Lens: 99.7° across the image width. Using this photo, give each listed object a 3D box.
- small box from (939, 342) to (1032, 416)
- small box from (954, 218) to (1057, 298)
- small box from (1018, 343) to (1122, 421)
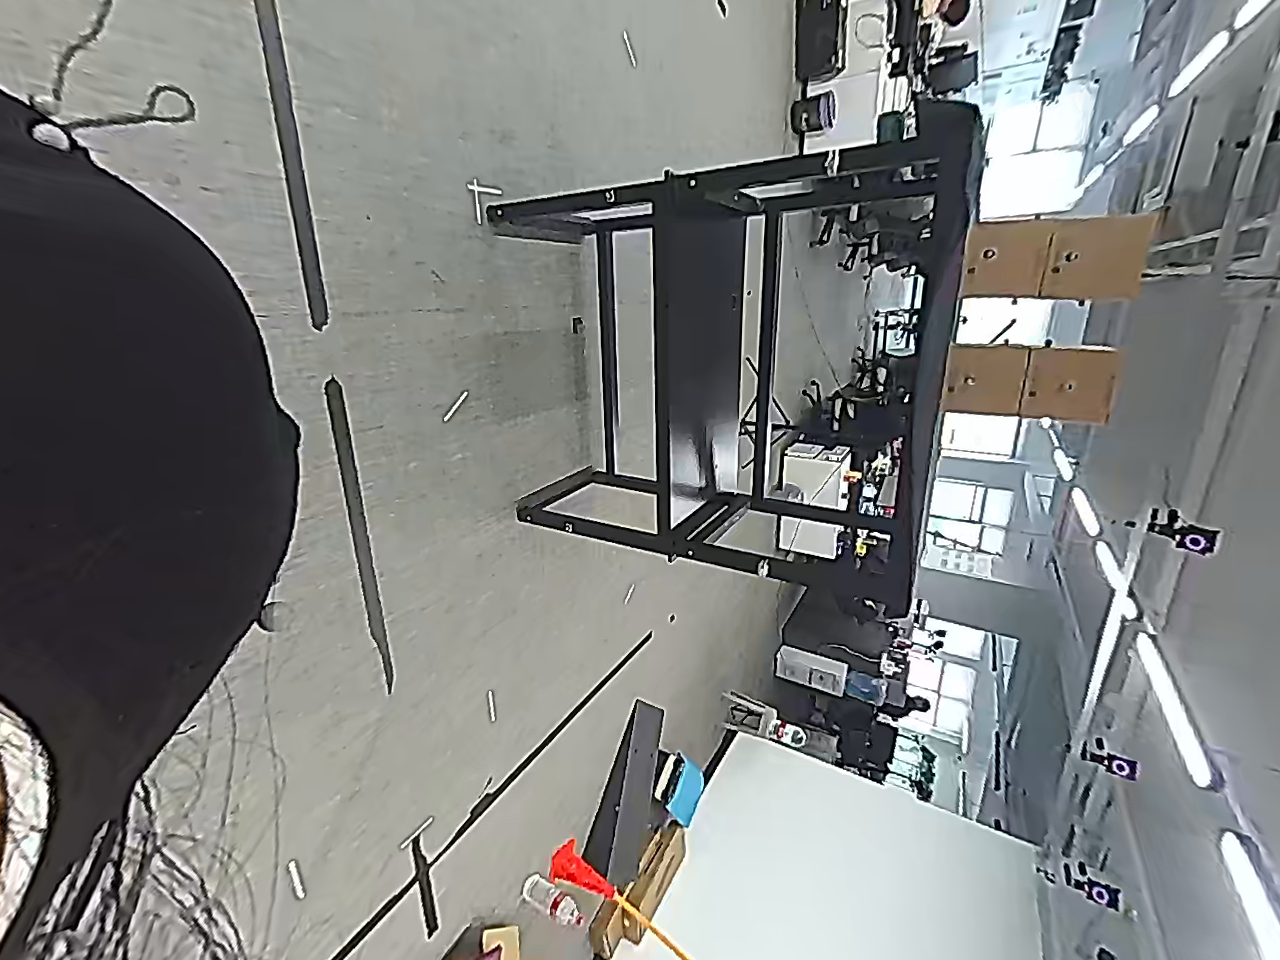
[{"bbox_3d":[0.866,-0.262,1.369,0.179,0.176,0.168,-28,122,-57],"label":"small box"},{"bbox_3d":[0.857,-0.521,1.284,0.179,0.176,0.168,-31,126,-55],"label":"small box"},{"bbox_3d":[1.010,-0.239,1.294,0.179,0.176,0.168,-28,123,-56],"label":"small box"}]
